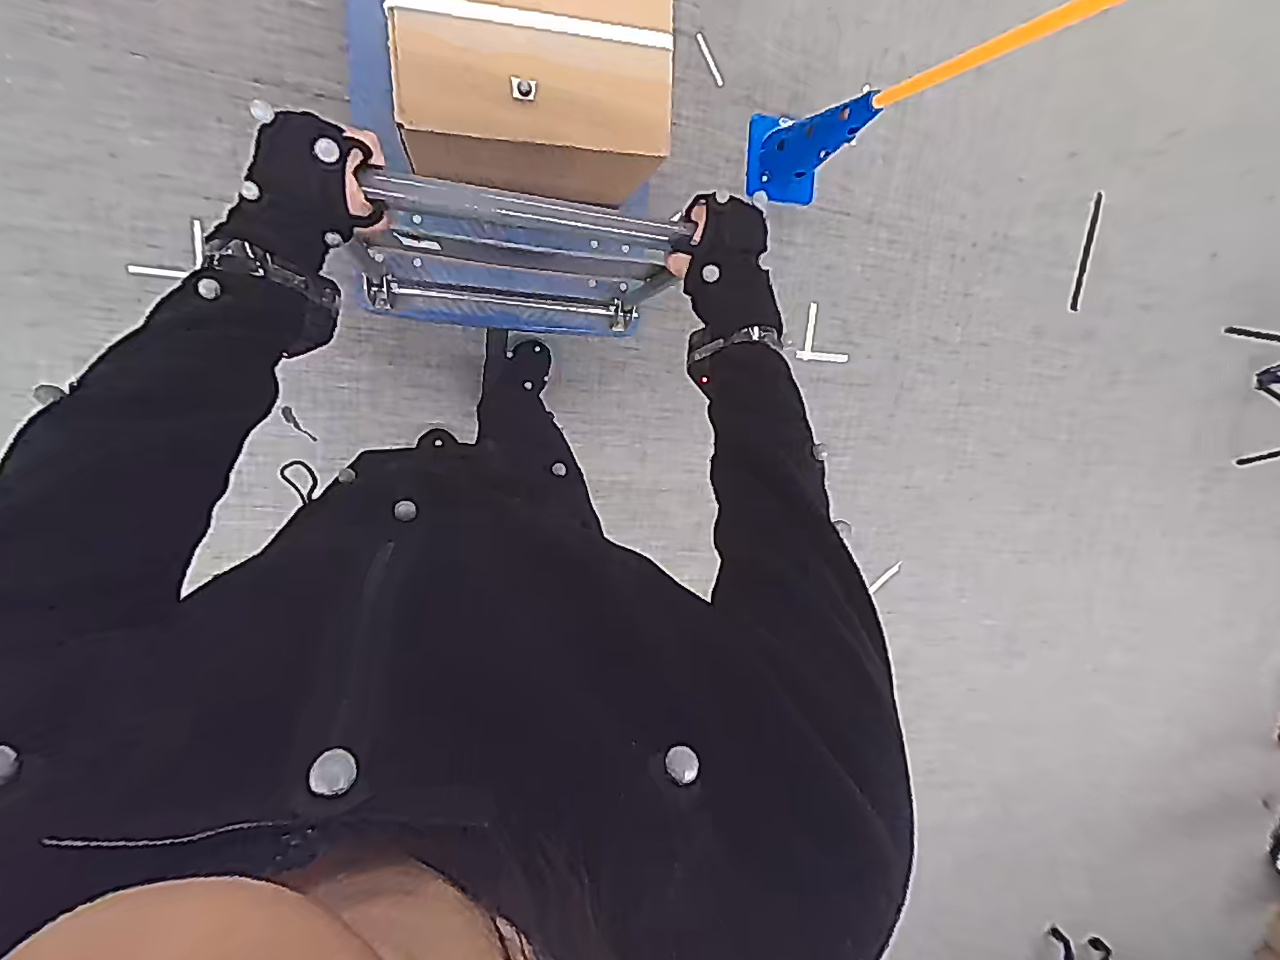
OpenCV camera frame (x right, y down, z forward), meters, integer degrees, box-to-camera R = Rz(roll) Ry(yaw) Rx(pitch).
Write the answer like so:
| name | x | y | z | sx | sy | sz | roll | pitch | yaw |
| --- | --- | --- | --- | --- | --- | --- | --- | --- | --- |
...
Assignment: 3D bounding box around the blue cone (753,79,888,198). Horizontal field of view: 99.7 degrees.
| name | x | y | z | sx | sy | sz | roll | pitch | yaw |
| --- | --- | --- | --- | --- | --- | --- | --- | --- | --- |
| blue cone | 0.430 | -0.813 | 1.260 | 0.193 | 0.380 | 0.192 | -1 | 102 | -17 |
